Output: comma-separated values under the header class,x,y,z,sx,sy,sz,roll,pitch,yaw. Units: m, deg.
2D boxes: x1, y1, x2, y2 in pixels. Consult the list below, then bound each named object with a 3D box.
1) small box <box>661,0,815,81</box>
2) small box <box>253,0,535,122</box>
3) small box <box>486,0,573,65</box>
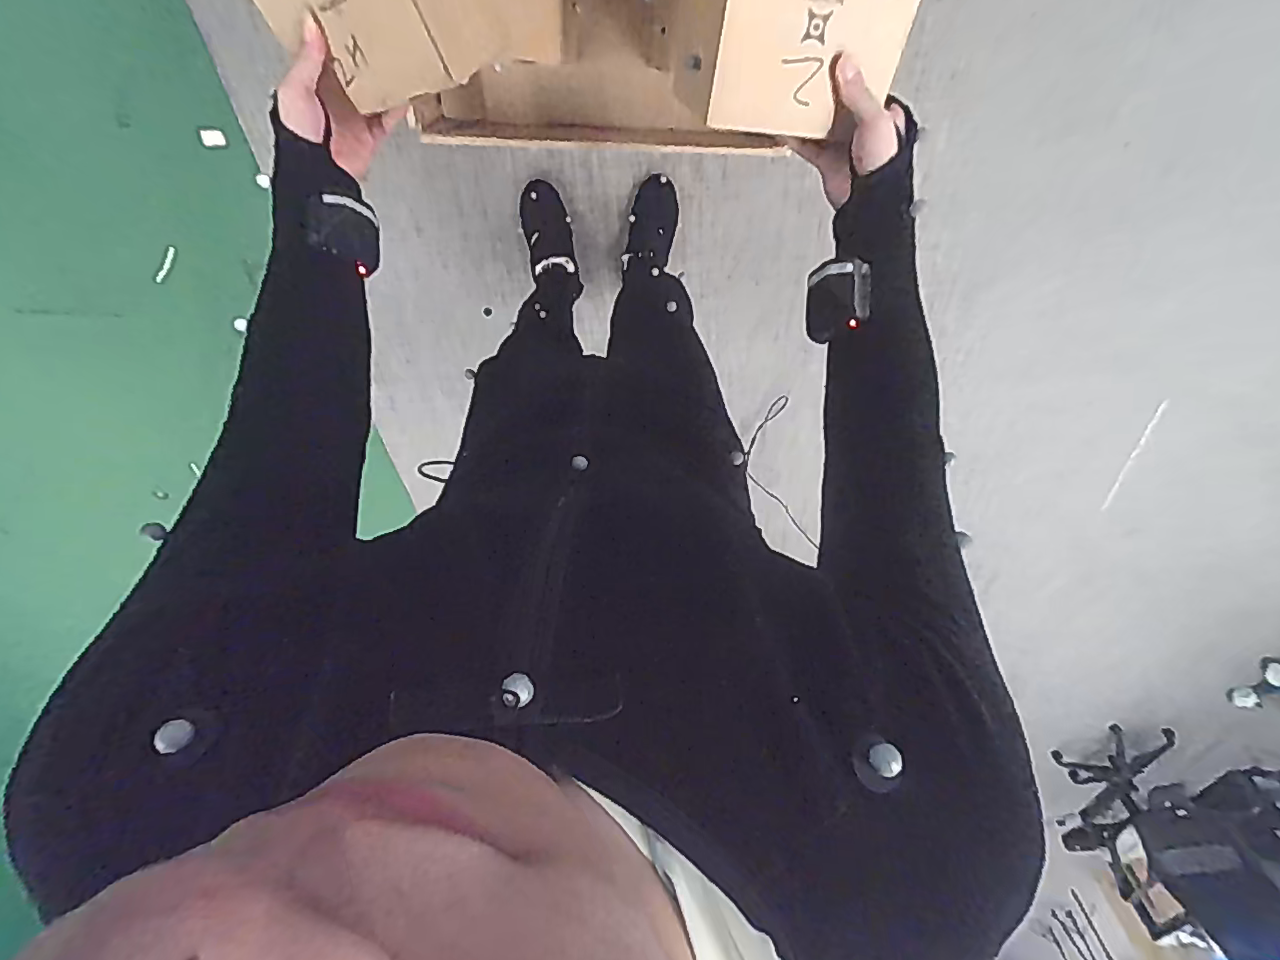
class,x,y,z,sx,sy,sz,roll,pitch,yaw
small box,0.116,-0.604,0.660,0.168,0.176,0.179,1,127,-4
small box,-0.226,-0.458,0.473,0.168,0.176,0.179,7,145,29
small box,-0.168,-0.613,0.647,0.168,0.176,0.179,2,128,-4
